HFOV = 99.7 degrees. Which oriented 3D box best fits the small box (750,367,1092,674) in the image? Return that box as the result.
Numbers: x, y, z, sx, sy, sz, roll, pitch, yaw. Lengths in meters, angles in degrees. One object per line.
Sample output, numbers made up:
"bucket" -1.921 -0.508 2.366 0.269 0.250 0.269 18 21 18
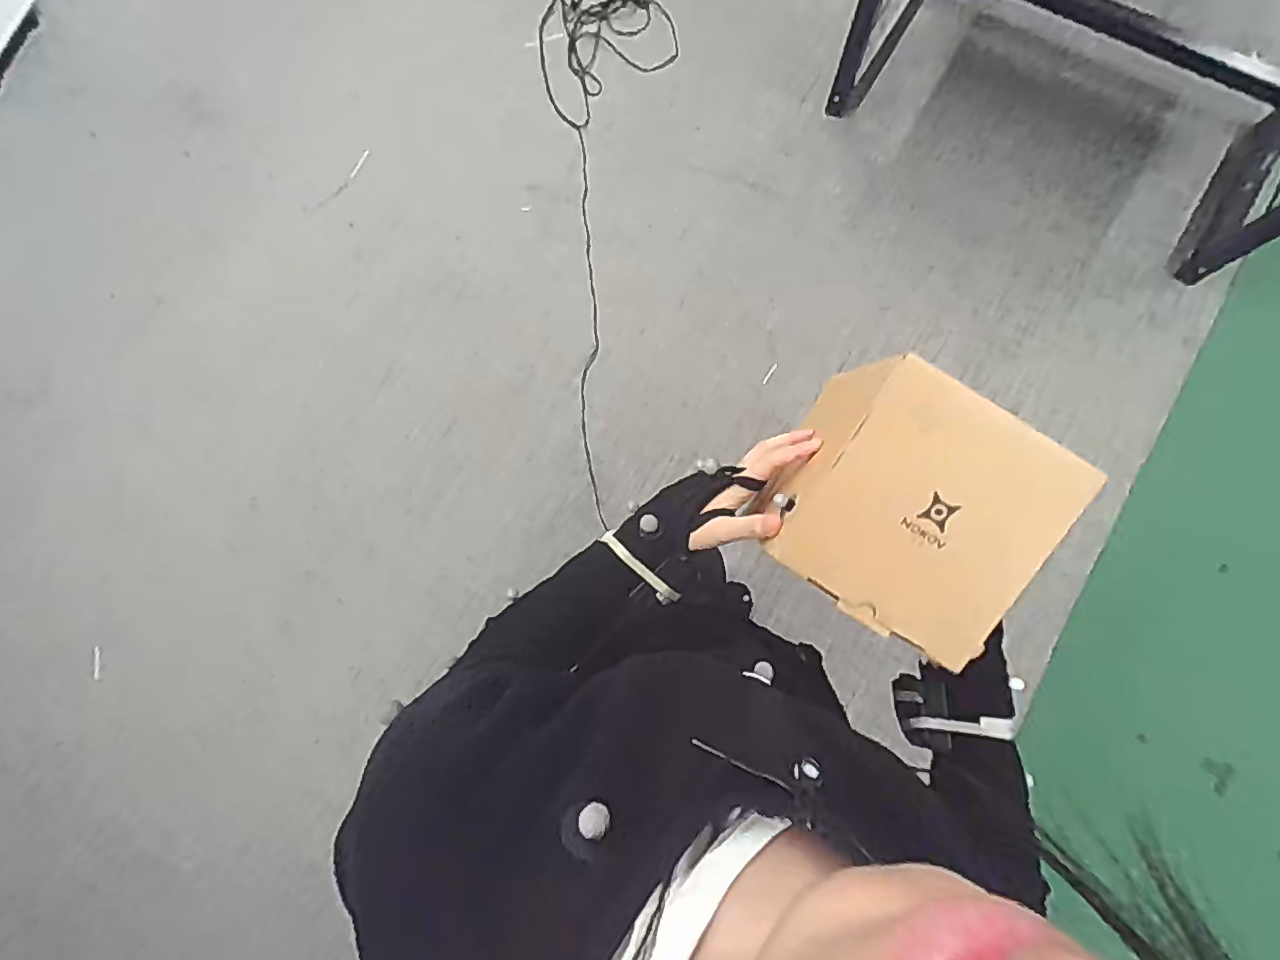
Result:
"small box" 0.214 0.022 0.472 0.168 0.176 0.179 31 99 -1
